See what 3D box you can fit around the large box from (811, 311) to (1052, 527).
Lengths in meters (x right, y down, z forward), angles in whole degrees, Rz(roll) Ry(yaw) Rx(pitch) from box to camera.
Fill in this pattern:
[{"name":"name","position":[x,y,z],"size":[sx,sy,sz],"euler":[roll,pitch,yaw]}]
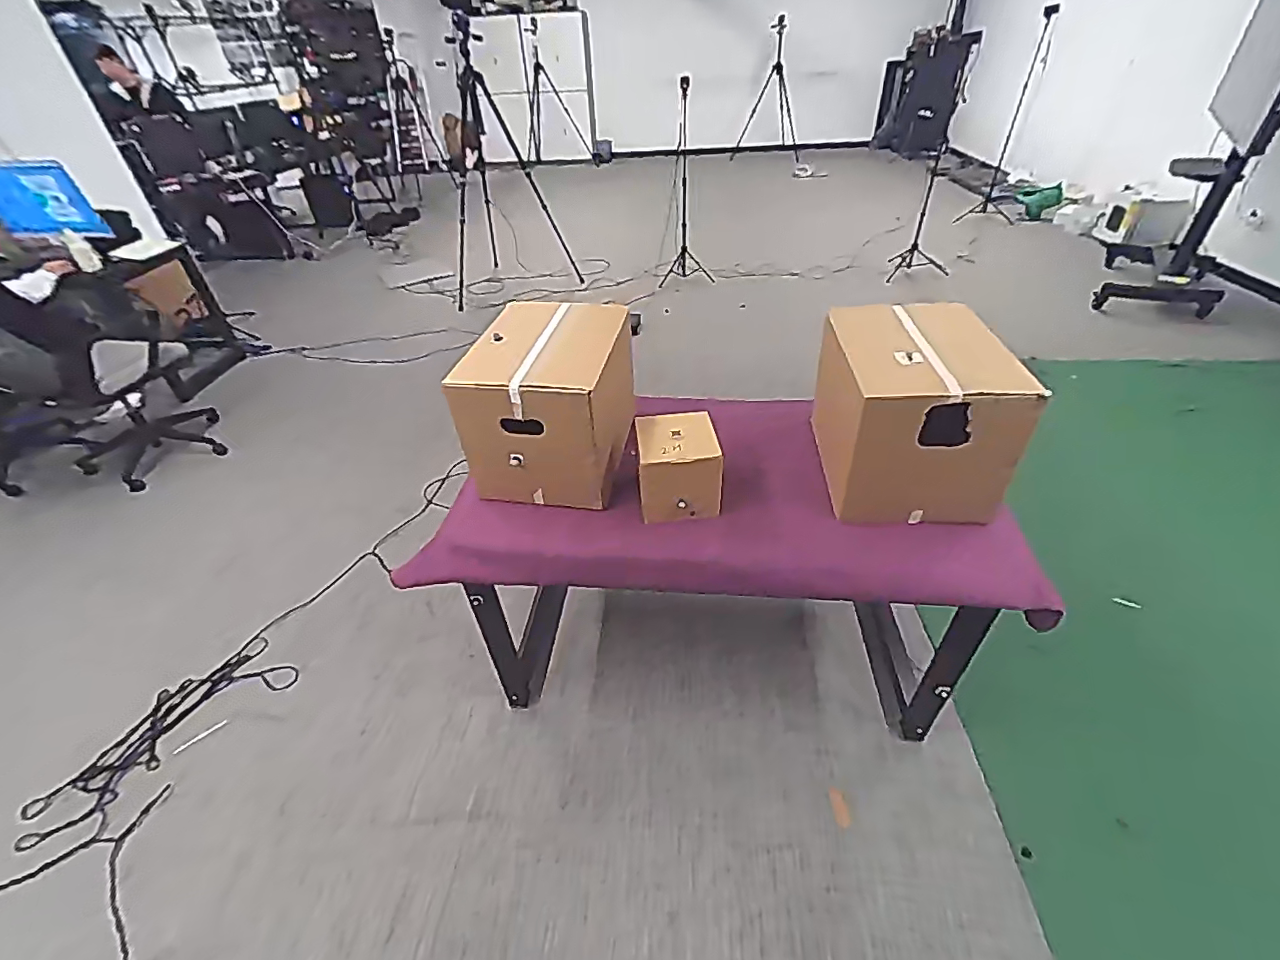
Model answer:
[{"name":"large box","position":[0.583,-0.143,1.187],"size":[0.320,0.320,0.408],"euler":[-1,40,7]}]
